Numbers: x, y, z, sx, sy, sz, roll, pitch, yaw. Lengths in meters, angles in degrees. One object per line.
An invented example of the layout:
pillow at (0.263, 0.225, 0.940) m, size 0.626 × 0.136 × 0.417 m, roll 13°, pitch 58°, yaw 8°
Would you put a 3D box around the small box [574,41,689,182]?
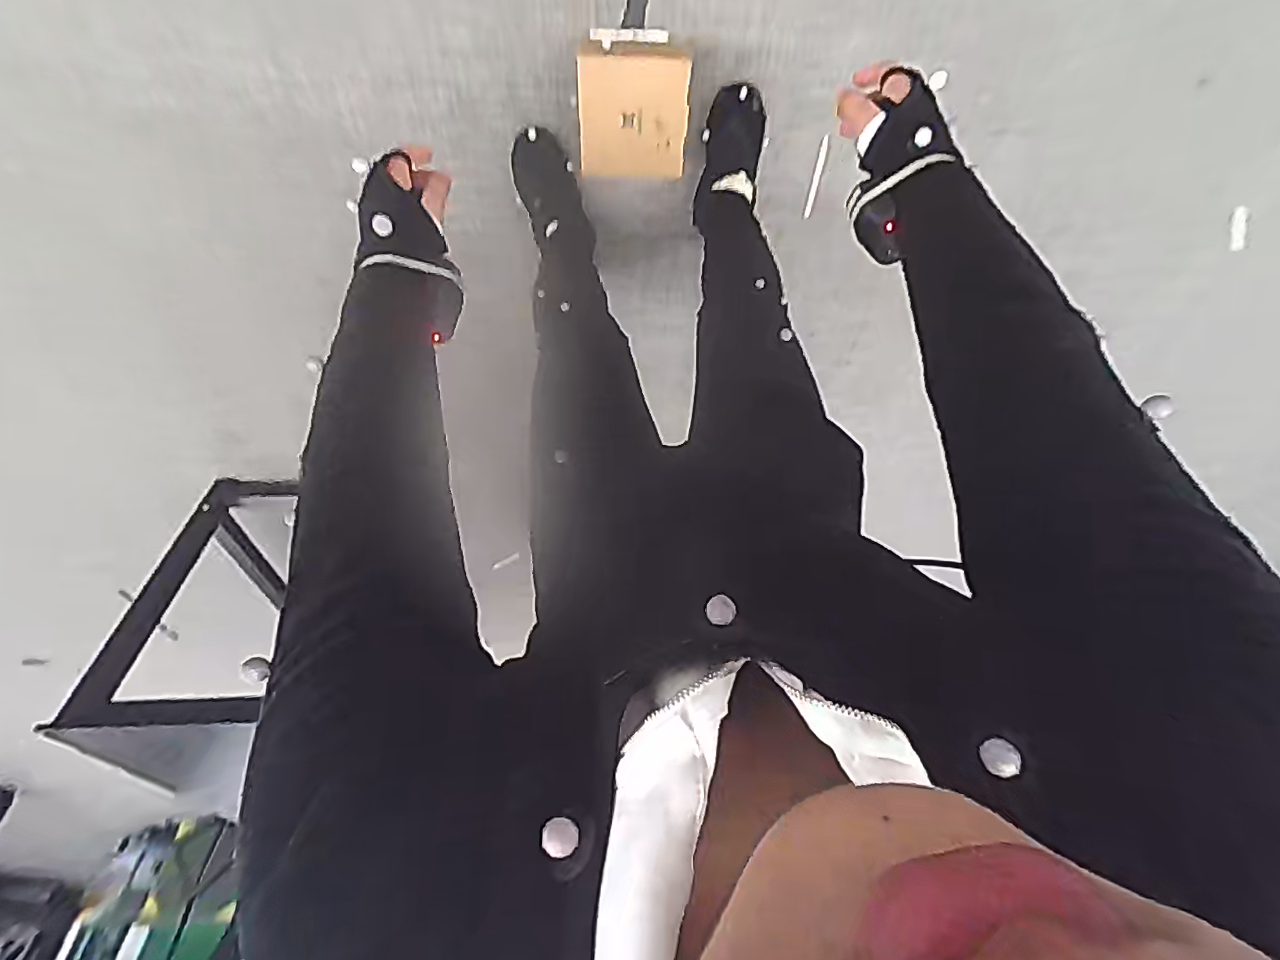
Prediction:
small box at (-0.021, -0.634, 0.929) m, size 0.179 × 0.176 × 0.168 m, roll -1°, pitch 138°, yaw -5°
